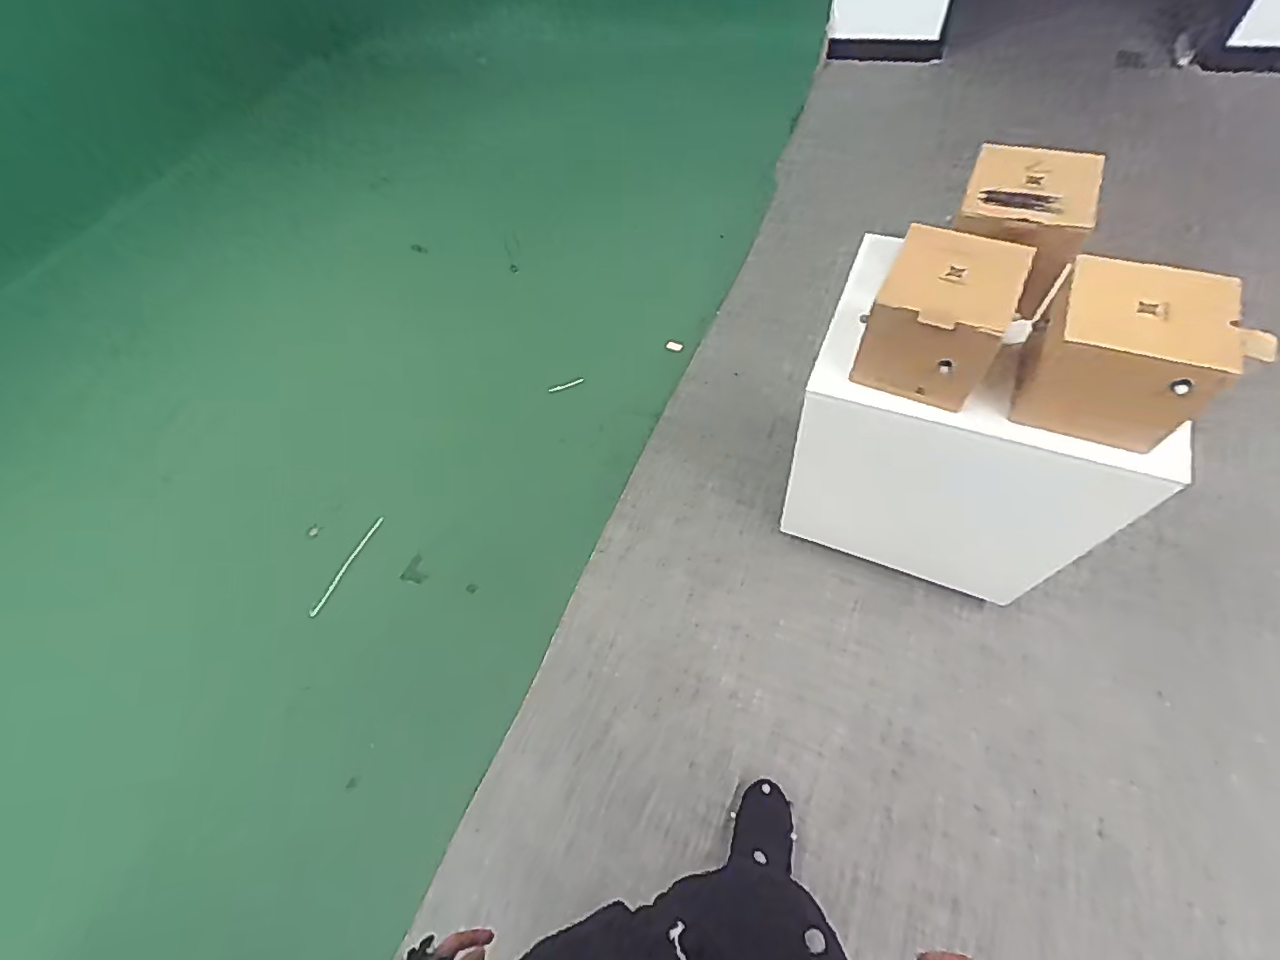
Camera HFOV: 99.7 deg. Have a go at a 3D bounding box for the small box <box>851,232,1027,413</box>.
[{"bbox_3d":[0.429,-0.228,0.802,0.168,0.176,0.179,23,64,19],"label":"small box"}]
